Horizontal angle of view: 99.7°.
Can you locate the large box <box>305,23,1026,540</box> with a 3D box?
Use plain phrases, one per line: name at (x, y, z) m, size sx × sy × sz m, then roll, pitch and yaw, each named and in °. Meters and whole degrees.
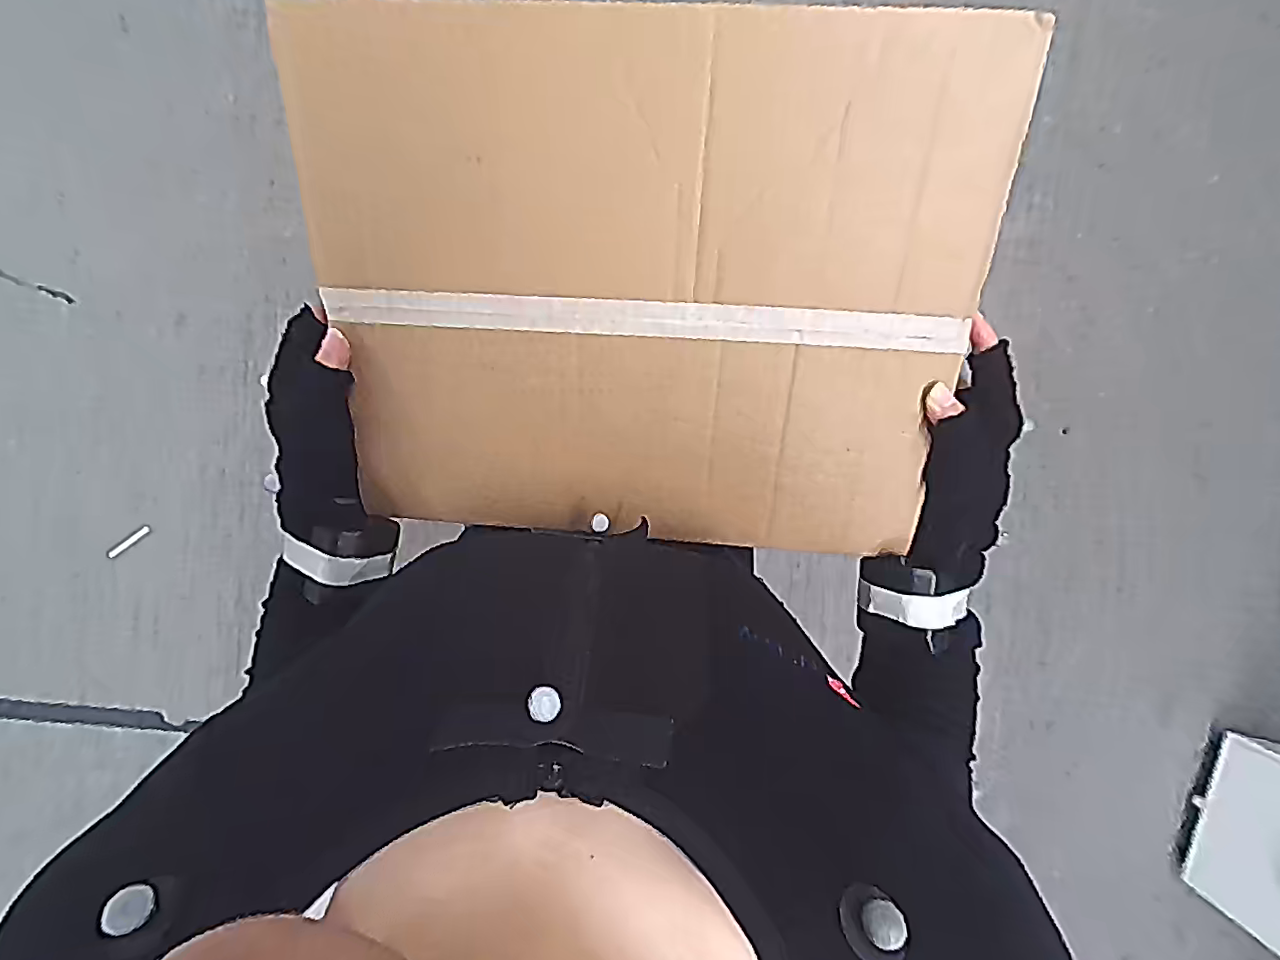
large box at (0.012, -0.164, 0.489) m, size 0.408 × 0.320 × 0.320 m, roll 4°, pitch 115°, yaw 4°
